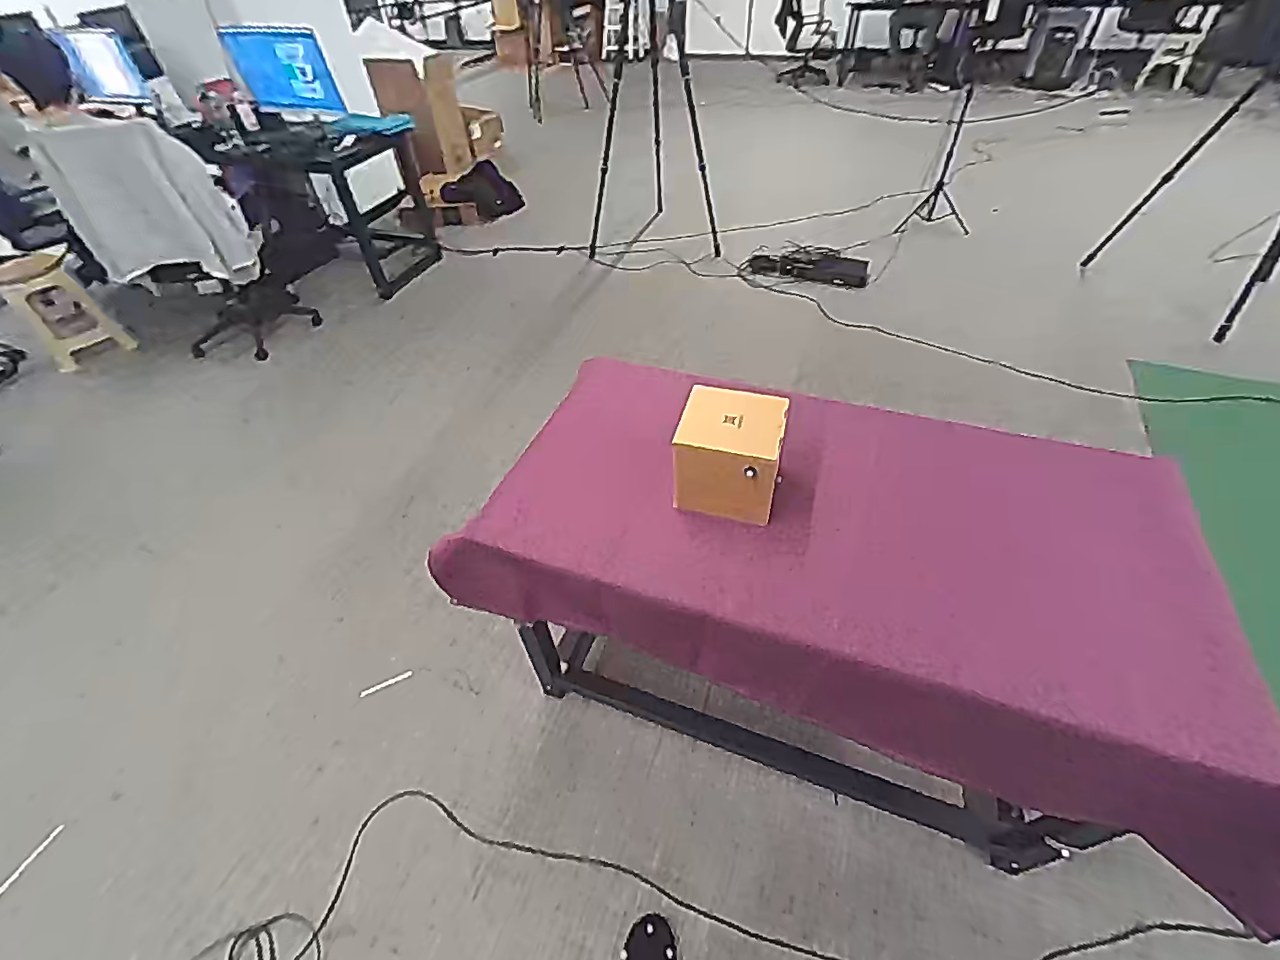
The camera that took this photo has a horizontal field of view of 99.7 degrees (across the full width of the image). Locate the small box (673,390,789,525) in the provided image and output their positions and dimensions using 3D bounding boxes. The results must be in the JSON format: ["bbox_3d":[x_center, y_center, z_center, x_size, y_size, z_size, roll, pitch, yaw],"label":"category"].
[{"bbox_3d":[0.163,-0.039,0.985,0.179,0.176,0.168,11,48,13],"label":"small box"}]
